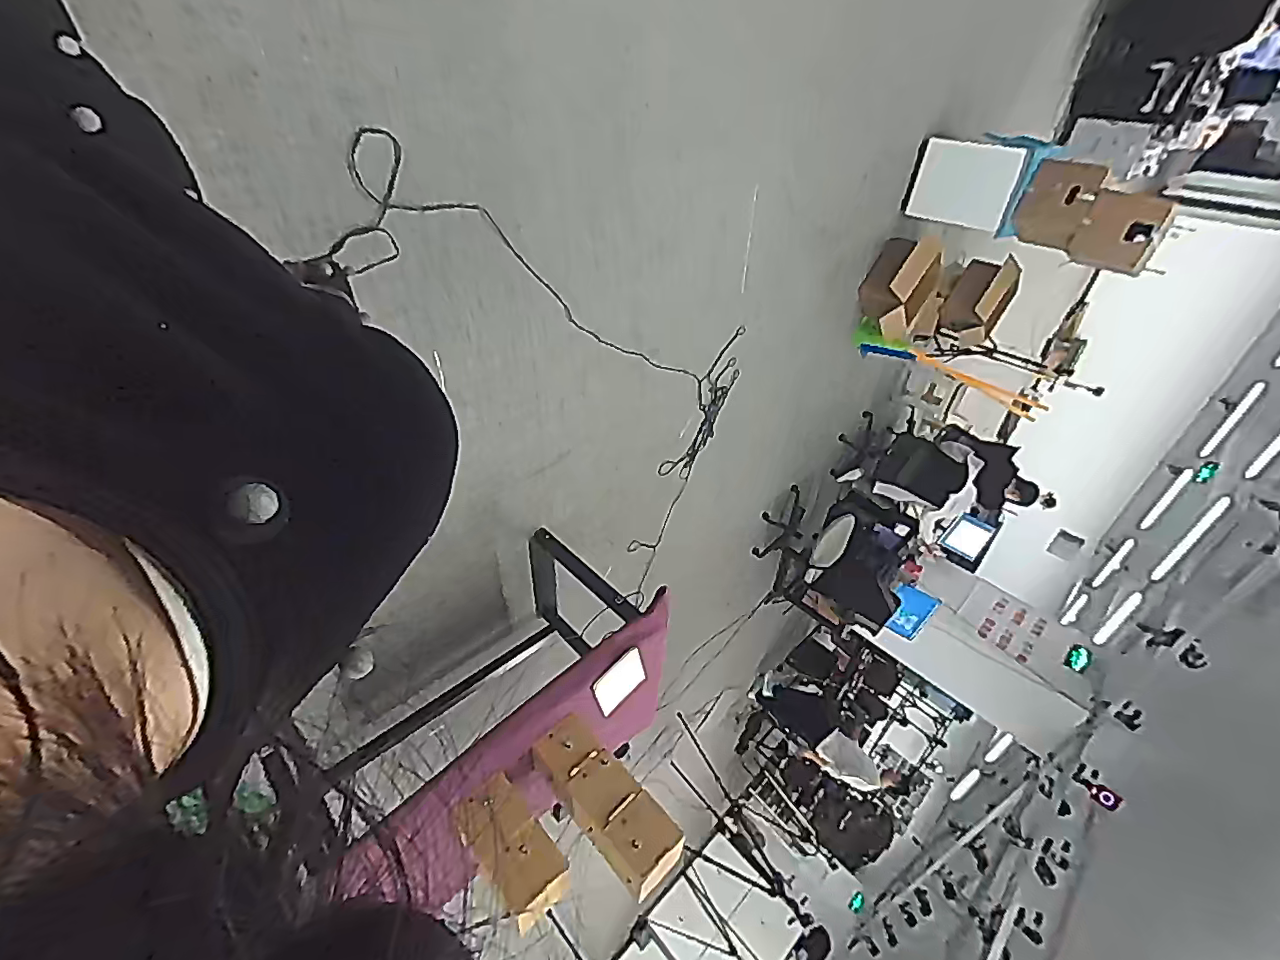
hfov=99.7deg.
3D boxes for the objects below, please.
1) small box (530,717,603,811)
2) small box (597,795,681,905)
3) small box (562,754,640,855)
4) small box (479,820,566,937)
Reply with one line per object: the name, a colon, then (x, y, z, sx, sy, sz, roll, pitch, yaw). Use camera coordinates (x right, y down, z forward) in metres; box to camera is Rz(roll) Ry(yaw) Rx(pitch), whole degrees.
small box: (-0.234, 0.889, 1.715, 0.168, 0.176, 0.179, -27, 136, -35)
small box: (-0.007, 1.034, 1.526, 0.168, 0.176, 0.179, -26, 137, -36)
small box: (-0.120, 0.961, 1.620, 0.168, 0.176, 0.179, -28, 138, -36)
small box: (-0.317, 1.073, 1.468, 0.168, 0.176, 0.179, -27, 138, -36)
